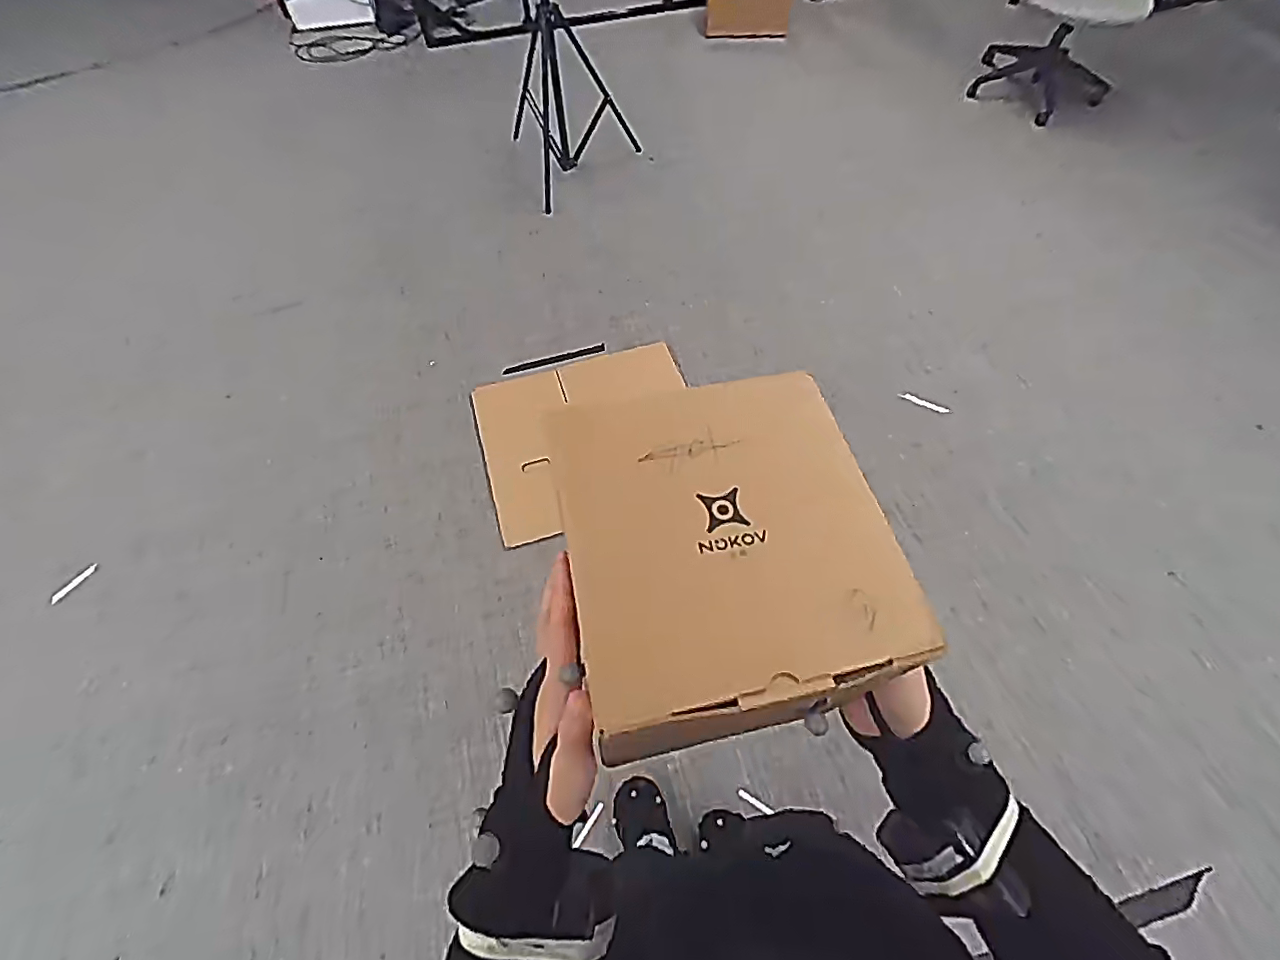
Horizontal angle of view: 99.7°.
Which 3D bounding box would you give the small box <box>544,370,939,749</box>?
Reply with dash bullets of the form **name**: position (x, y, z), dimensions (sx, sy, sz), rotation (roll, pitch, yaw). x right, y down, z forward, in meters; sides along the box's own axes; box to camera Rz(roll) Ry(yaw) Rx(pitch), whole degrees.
- **small box**: position (0.038, 0.059, 0.345), dimensions (0.168, 0.176, 0.179), rotation (-9, 59, -10)
